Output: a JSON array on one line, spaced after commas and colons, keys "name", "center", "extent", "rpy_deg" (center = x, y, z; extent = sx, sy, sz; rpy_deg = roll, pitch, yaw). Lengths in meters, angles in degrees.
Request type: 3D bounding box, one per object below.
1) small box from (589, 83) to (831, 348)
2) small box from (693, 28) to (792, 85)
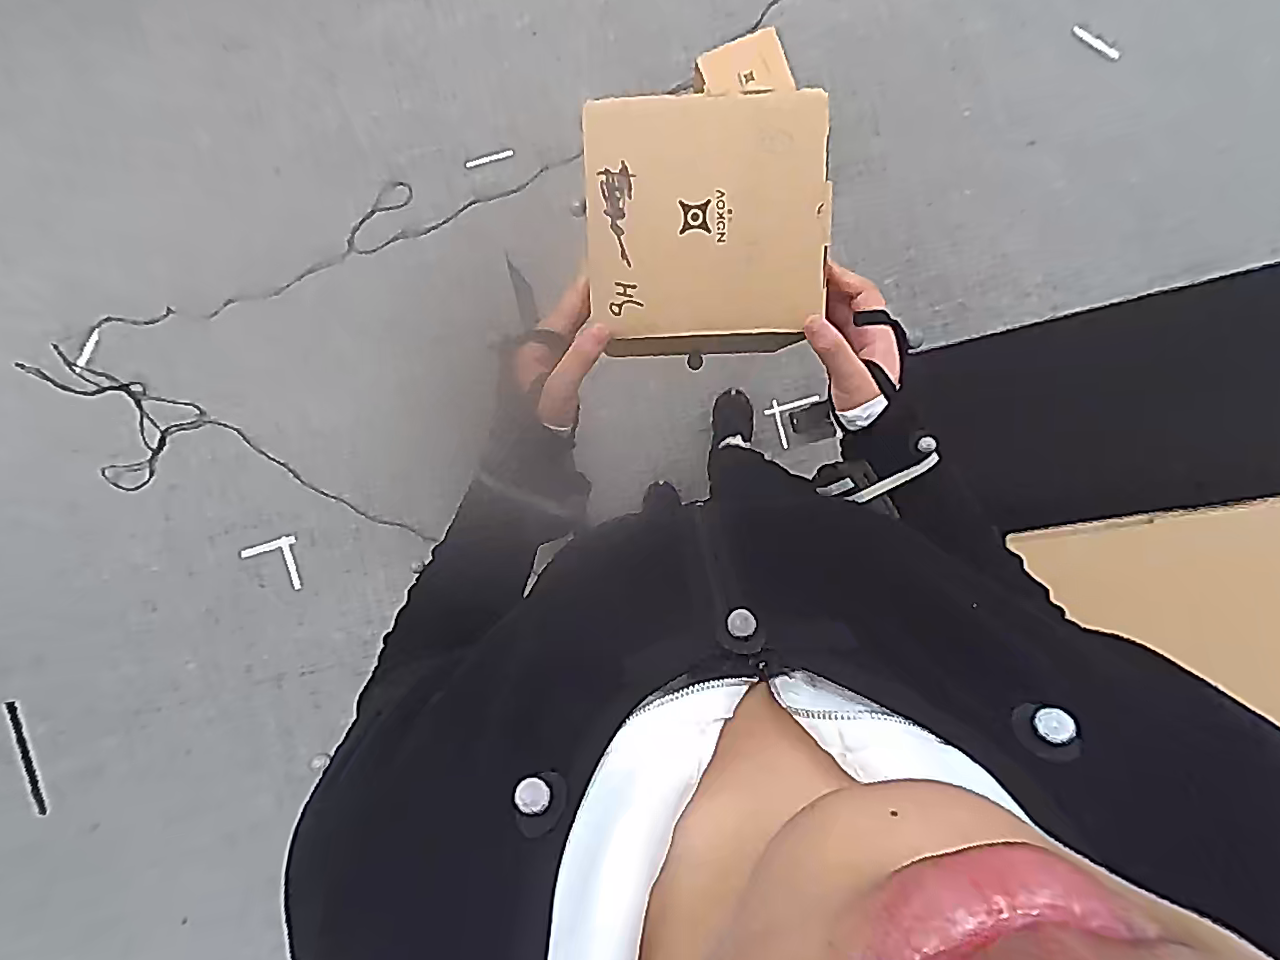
[{"name": "small box", "center": [0.050, -0.209, 0.473], "extent": [0.179, 0.176, 0.168], "rpy_deg": [-2, 97, 0]}, {"name": "small box", "center": [0.226, -0.846, 1.217], "extent": [0.179, 0.176, 0.168], "rpy_deg": [-21, 91, 3]}]
